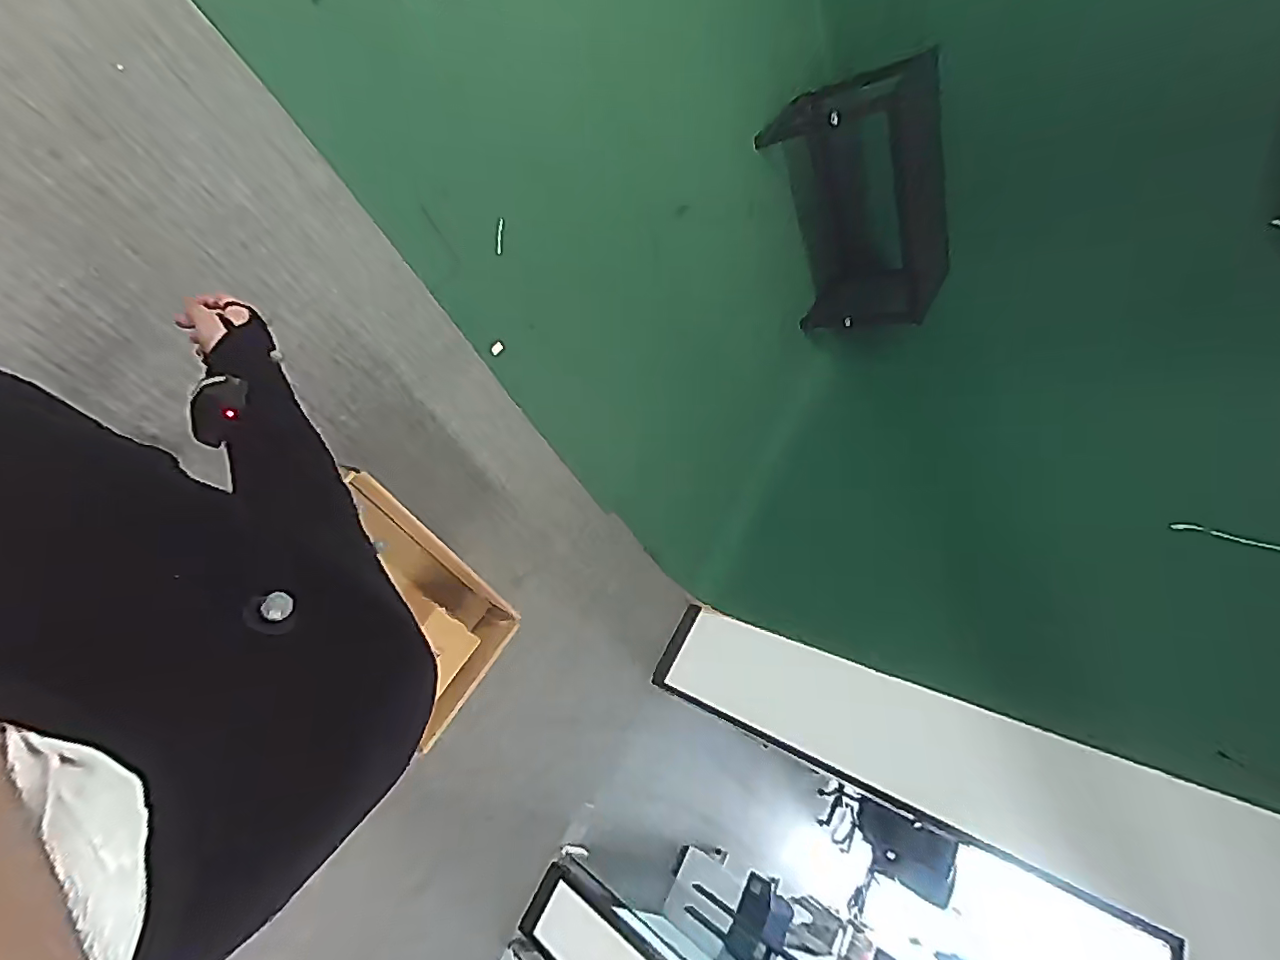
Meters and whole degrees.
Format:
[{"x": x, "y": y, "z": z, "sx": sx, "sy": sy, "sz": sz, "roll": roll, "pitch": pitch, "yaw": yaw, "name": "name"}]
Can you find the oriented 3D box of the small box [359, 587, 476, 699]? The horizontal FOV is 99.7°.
[{"x": -0.541, "y": 0.387, "z": 1.303, "sx": 0.179, "sy": 0.176, "sz": 0.168, "roll": -55, "pitch": 135, "yaw": -26, "name": "small box"}]
